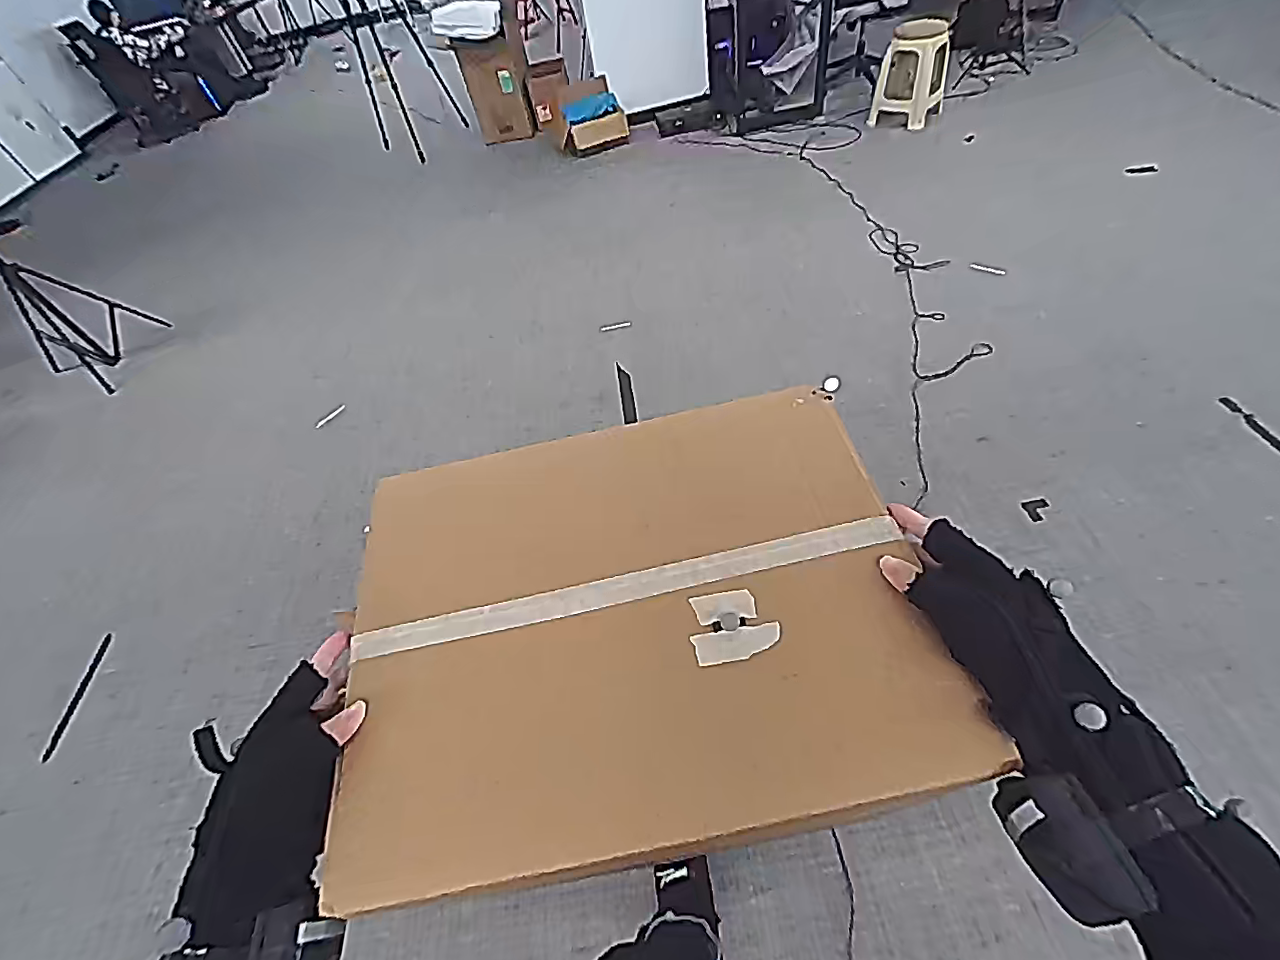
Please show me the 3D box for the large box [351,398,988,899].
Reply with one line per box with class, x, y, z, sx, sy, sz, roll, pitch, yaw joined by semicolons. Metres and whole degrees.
large box;0.010;0.172;0.530;0.408;0.320;0.320;-12;54;0
